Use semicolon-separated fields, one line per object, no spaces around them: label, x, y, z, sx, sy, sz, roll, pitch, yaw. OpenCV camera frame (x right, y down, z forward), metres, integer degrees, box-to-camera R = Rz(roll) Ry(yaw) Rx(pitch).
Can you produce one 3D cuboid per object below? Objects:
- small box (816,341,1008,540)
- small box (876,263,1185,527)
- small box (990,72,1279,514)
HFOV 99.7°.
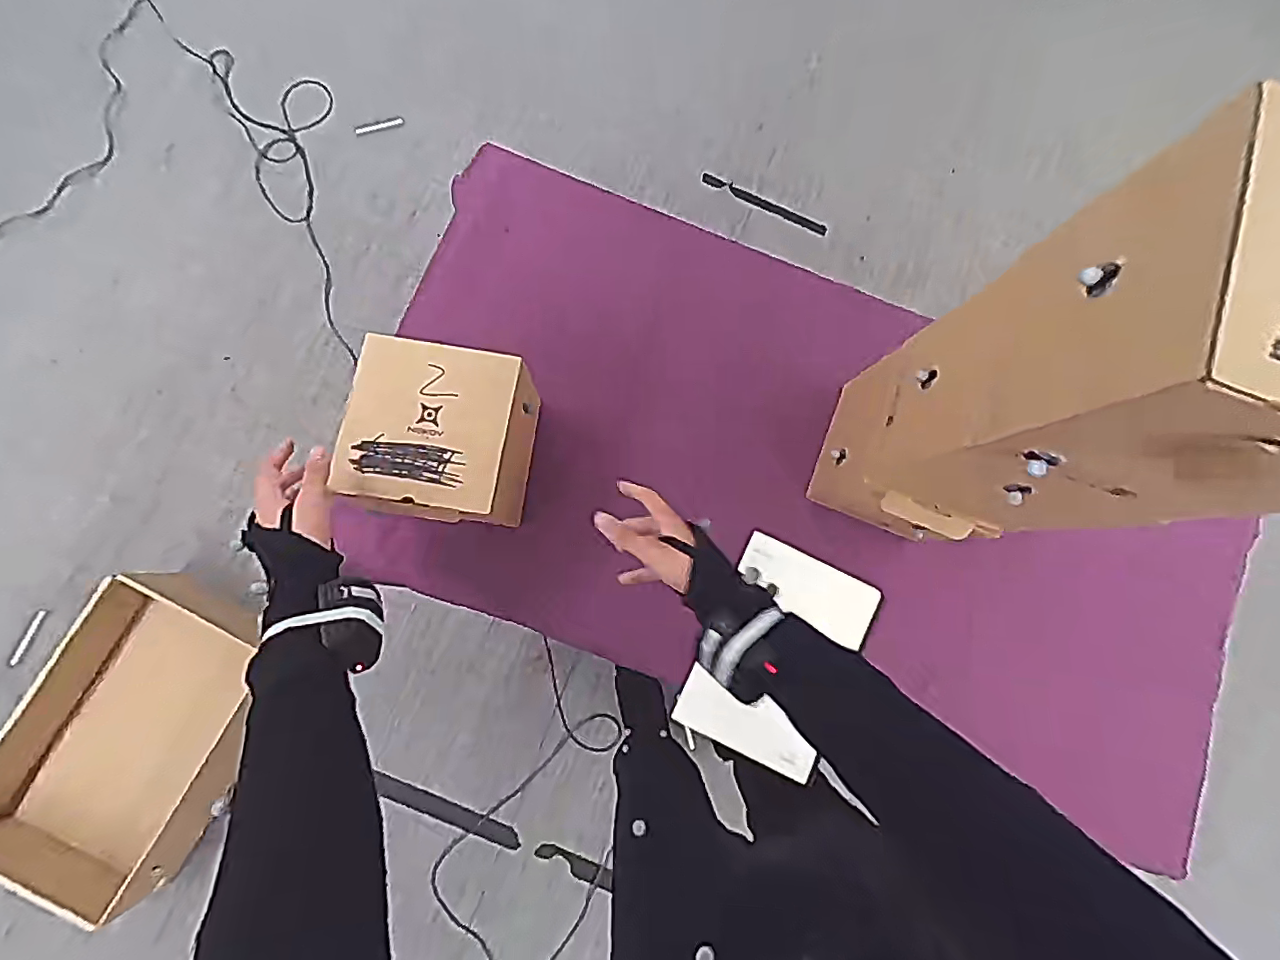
small box;0.337;-0.034;0.662;0.168;0.176;0.179;22;81;-1
small box;0.352;-0.060;0.499;0.179;0.176;0.168;21;82;-1
small box;0.361;-0.087;0.337;0.168;0.176;0.179;20;80;-1
